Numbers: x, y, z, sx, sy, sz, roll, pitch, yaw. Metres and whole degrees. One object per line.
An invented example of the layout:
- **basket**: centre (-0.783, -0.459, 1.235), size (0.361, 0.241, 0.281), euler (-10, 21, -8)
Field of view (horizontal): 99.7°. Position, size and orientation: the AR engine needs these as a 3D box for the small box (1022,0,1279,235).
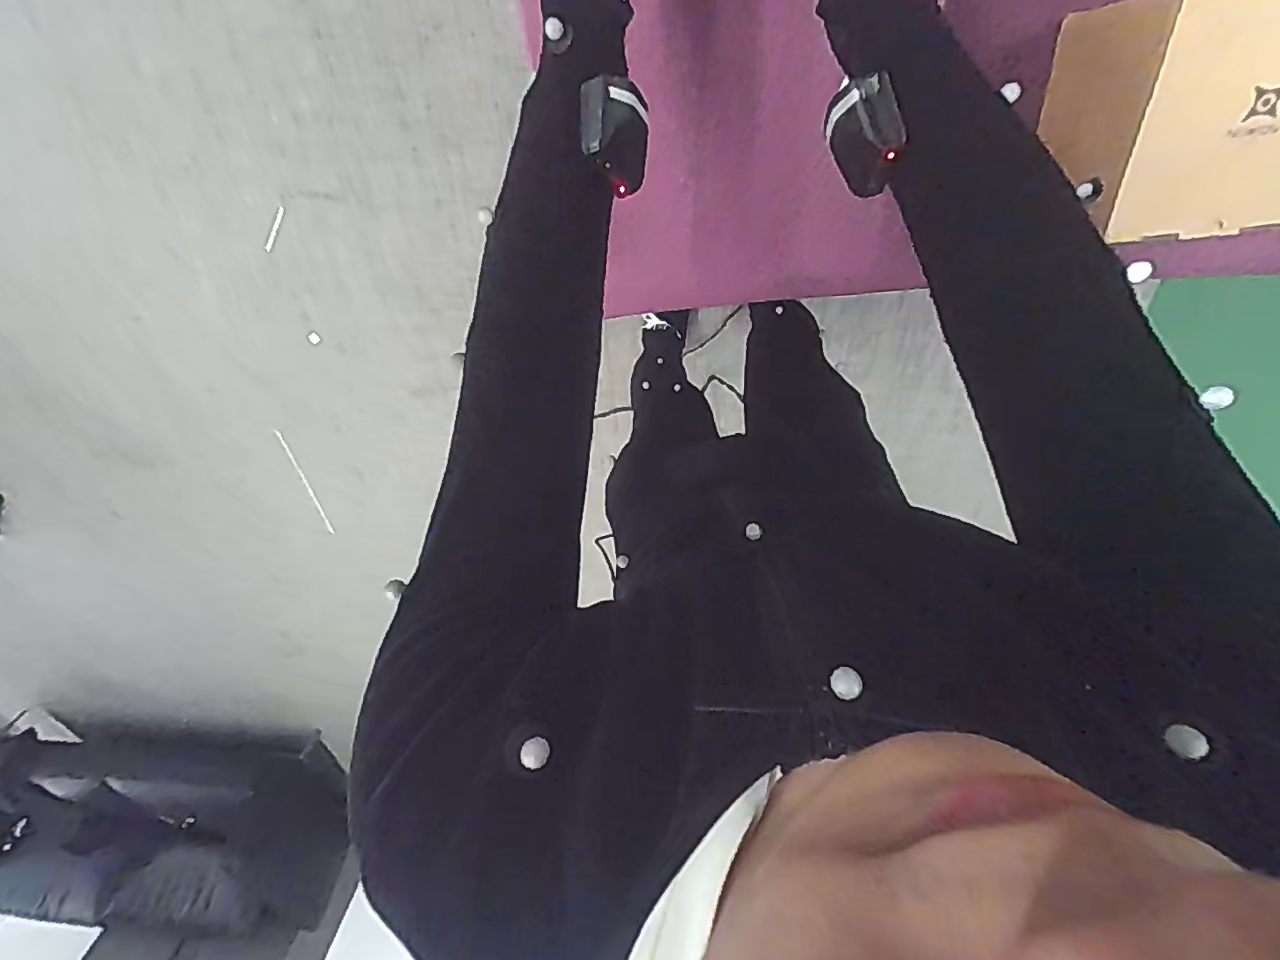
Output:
- **small box**: centre (0.477, -0.331, 0.474), size (0.168, 0.176, 0.179), euler (-2, 125, 9)
